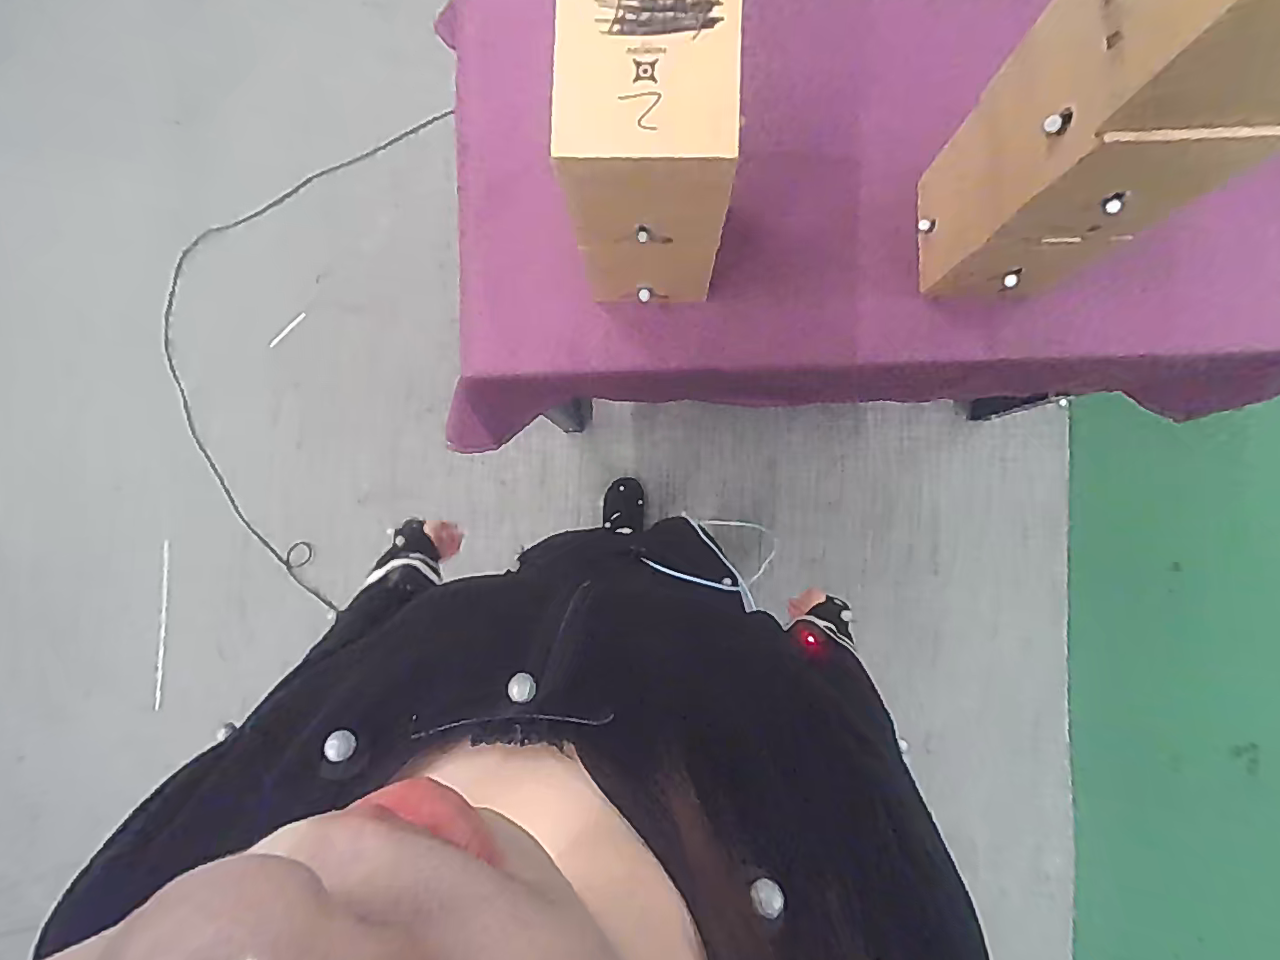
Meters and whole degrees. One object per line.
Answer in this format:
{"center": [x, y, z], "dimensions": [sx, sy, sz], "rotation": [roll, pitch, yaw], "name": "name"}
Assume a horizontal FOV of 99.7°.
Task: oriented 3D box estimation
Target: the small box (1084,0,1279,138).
{"center": [0.463, -0.372, 0.378], "dimensions": [0.179, 0.176, 0.168], "rotation": [0, 86, 3], "name": "small box"}

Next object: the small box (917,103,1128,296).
{"center": [0.483, -0.351, 0.705], "dimensions": [0.168, 0.176, 0.179], "rotation": [0, 88, 2], "name": "small box"}

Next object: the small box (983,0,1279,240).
{"center": [0.473, -0.359, 0.541], "dimensions": [0.168, 0.176, 0.179], "rotation": [0, 87, 2], "name": "small box"}

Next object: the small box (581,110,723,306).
{"center": [0.016, -0.350, 0.721], "dimensions": [0.168, 0.176, 0.179], "rotation": [2, 88, 2], "name": "small box"}
